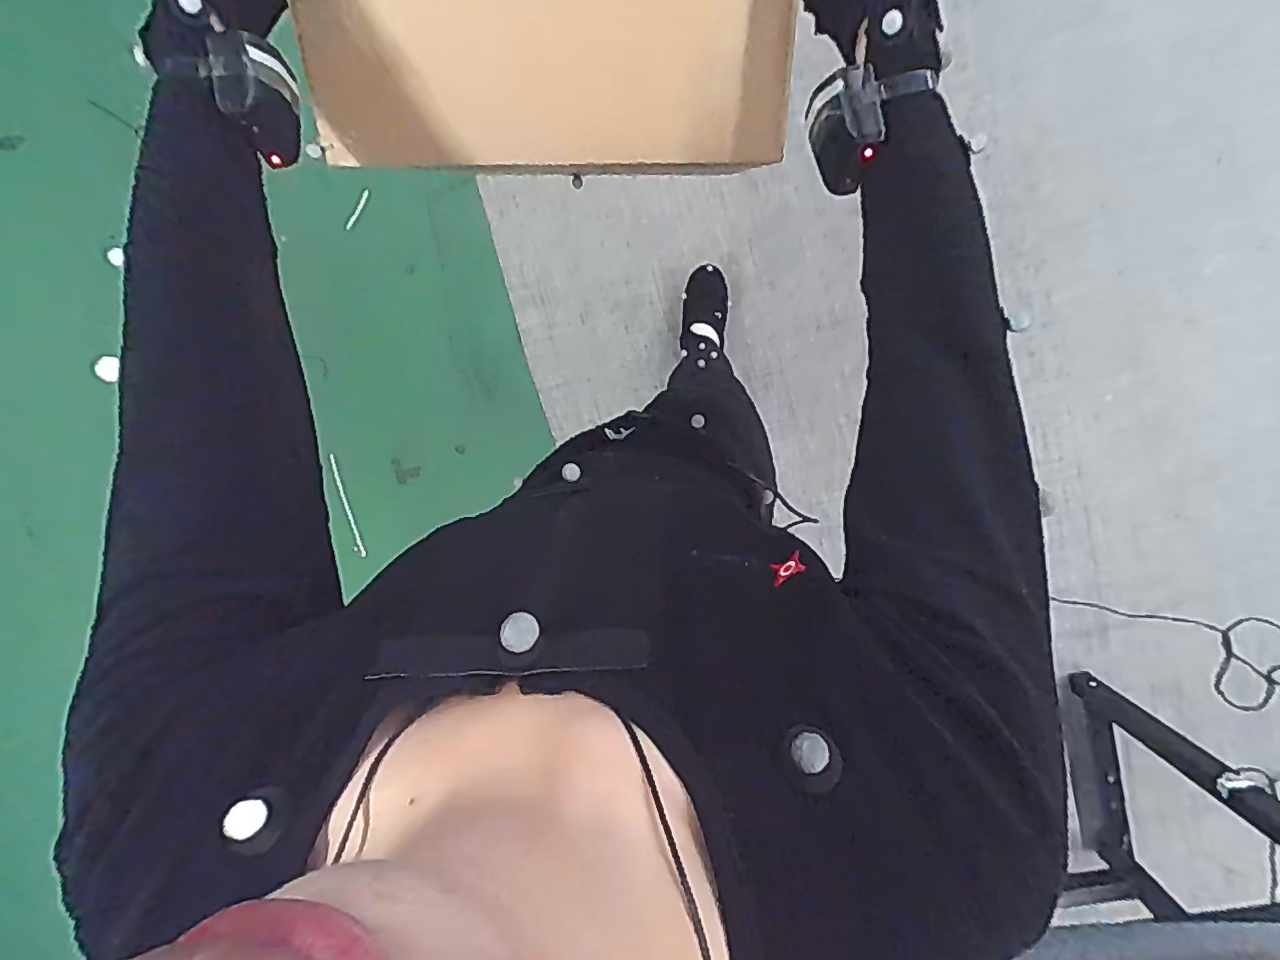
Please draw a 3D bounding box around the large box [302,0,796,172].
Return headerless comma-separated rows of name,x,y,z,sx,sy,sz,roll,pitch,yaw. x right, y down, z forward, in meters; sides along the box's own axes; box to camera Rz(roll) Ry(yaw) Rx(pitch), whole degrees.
large box,-0.069,-0.494,0.544,0.408,0.320,0.320,0,117,2
